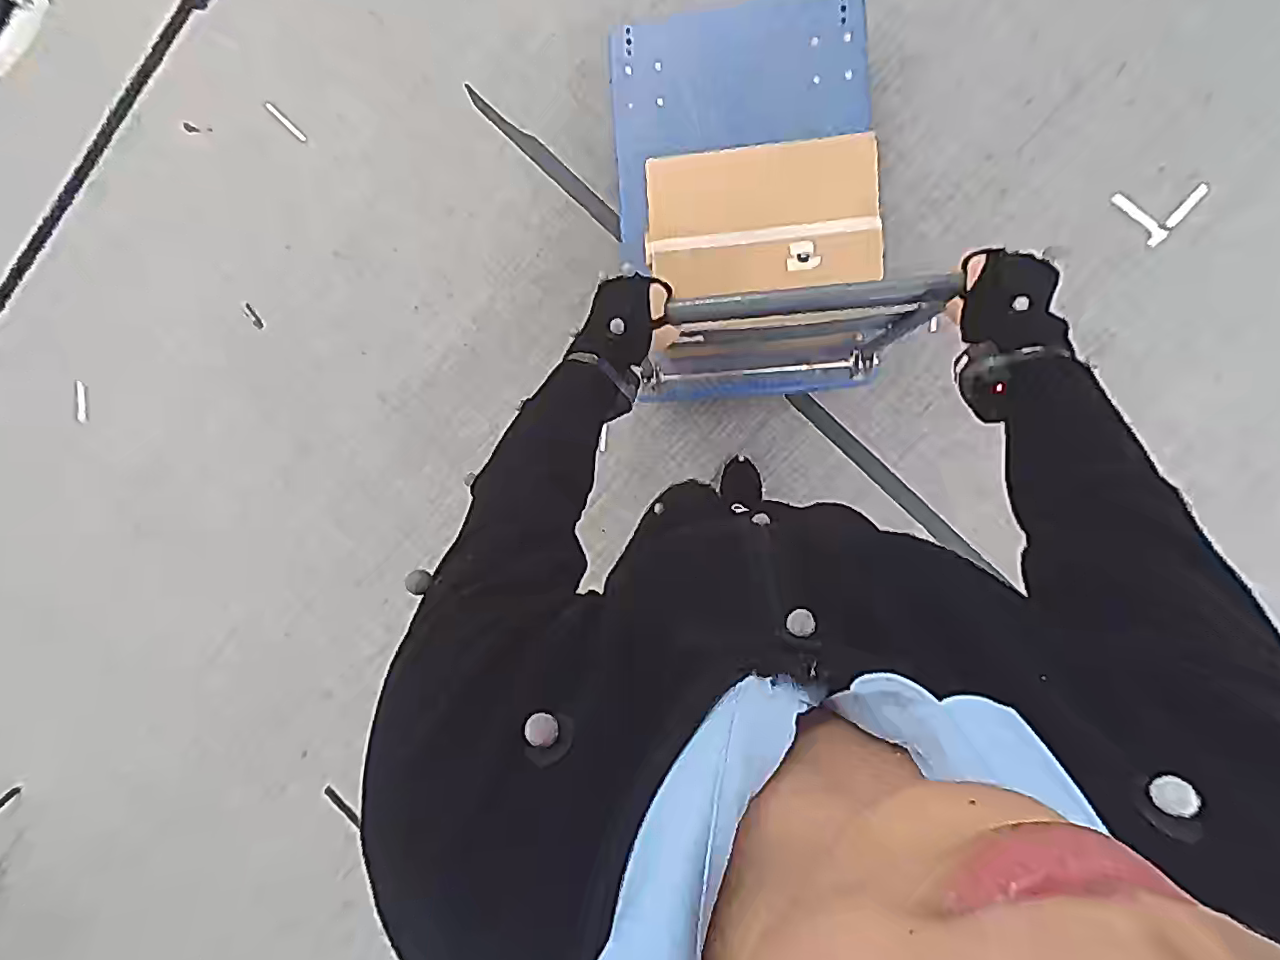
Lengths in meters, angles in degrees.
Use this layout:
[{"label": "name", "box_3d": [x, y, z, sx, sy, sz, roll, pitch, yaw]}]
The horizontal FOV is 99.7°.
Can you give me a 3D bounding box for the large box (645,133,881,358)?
[{"label": "large box", "box_3d": [0.230, -0.446, 1.113, 0.408, 0.320, 0.320, -4, 95, 5]}]
